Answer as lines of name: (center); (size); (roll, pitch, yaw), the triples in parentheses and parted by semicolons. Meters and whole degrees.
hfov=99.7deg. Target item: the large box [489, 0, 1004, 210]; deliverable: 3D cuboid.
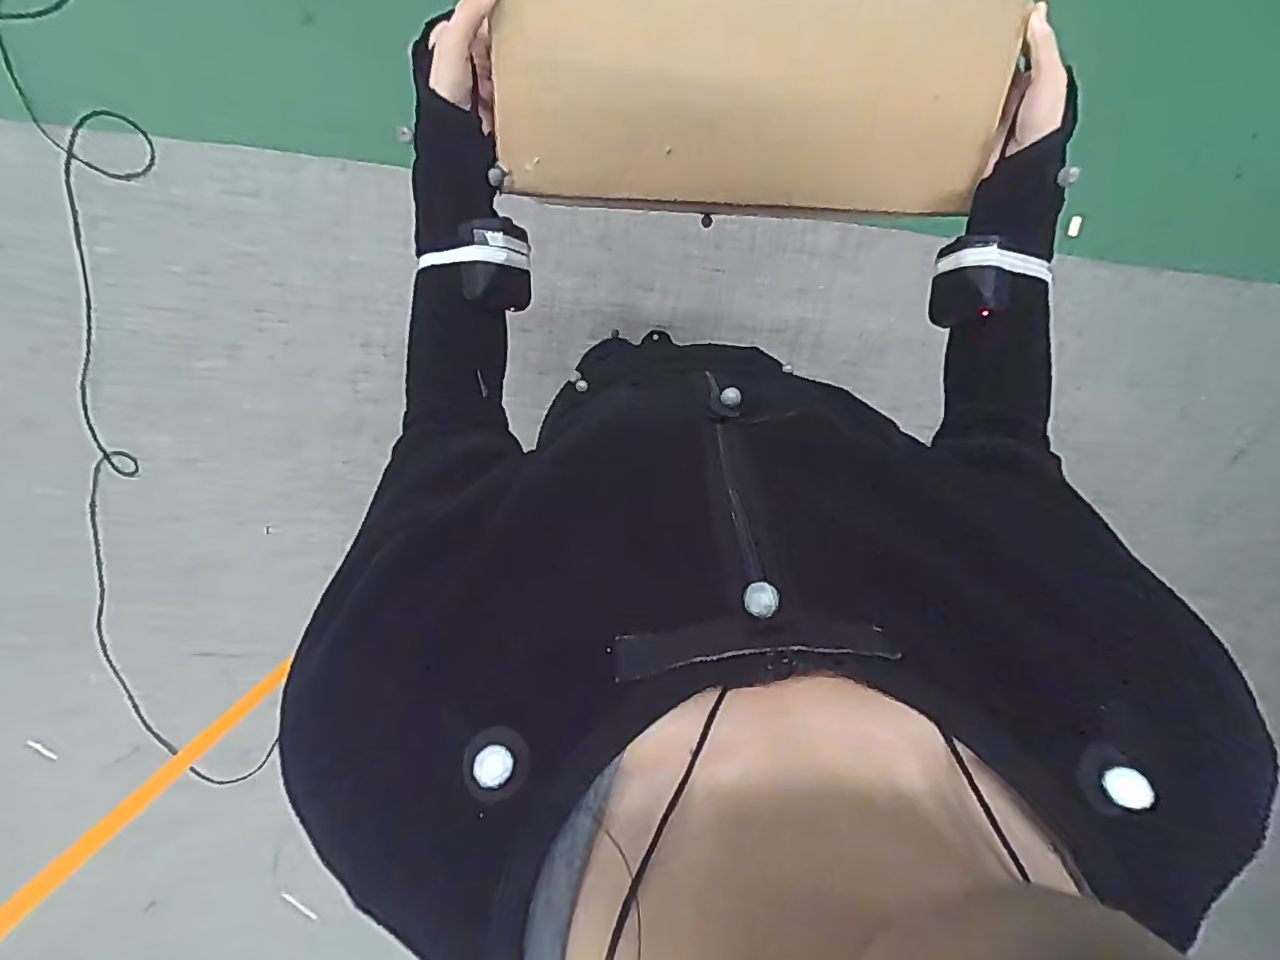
large box: (0.079, -0.445, 0.534); (0.408, 0.320, 0.320); (1, 115, -4)
